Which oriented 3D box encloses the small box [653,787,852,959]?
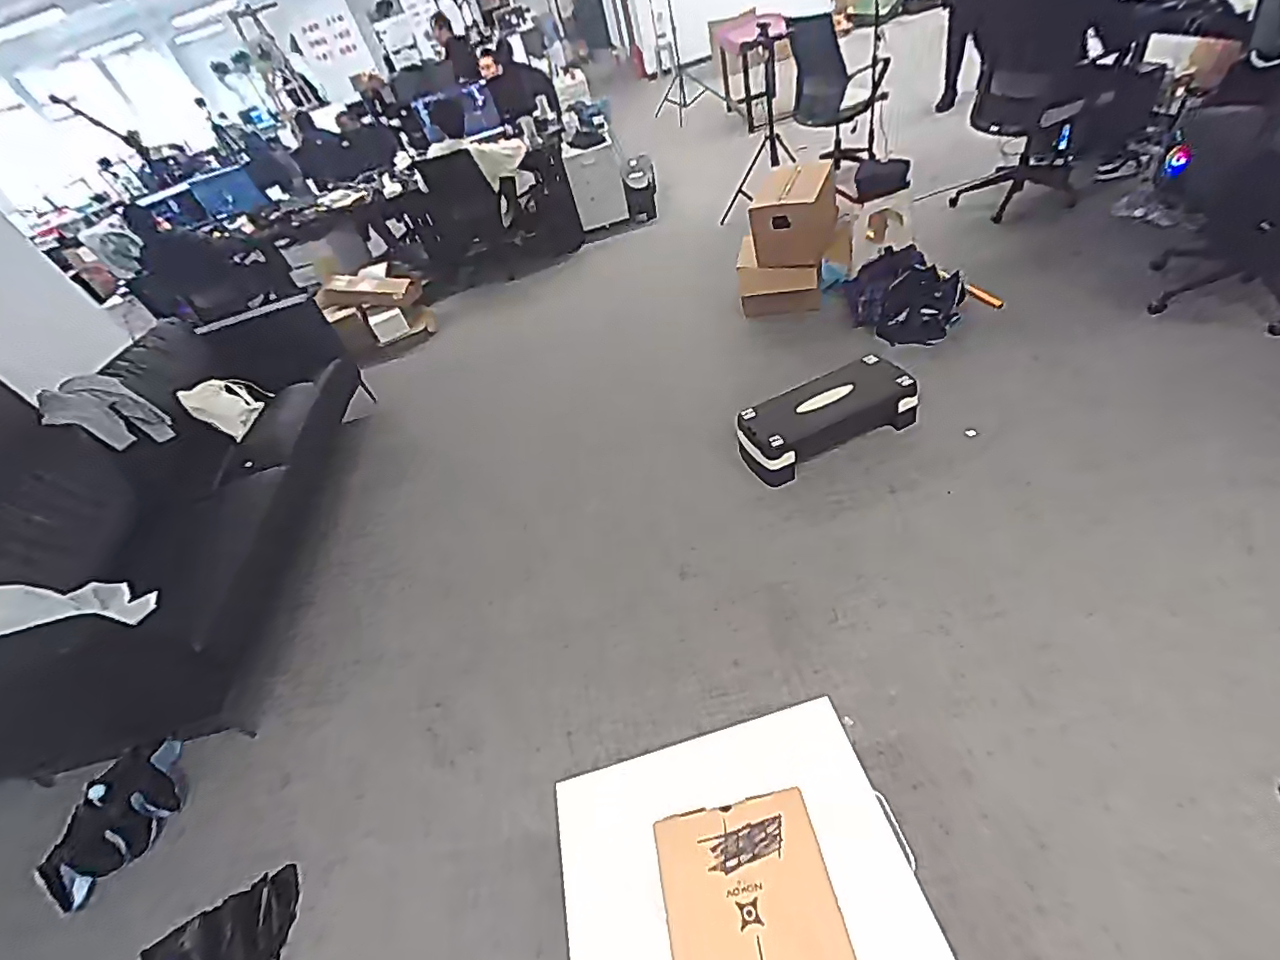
[{"bbox_3d":[0.119,0.464,0.579,0.168,0.176,0.179,-15,43,3],"label":"small box"}]
